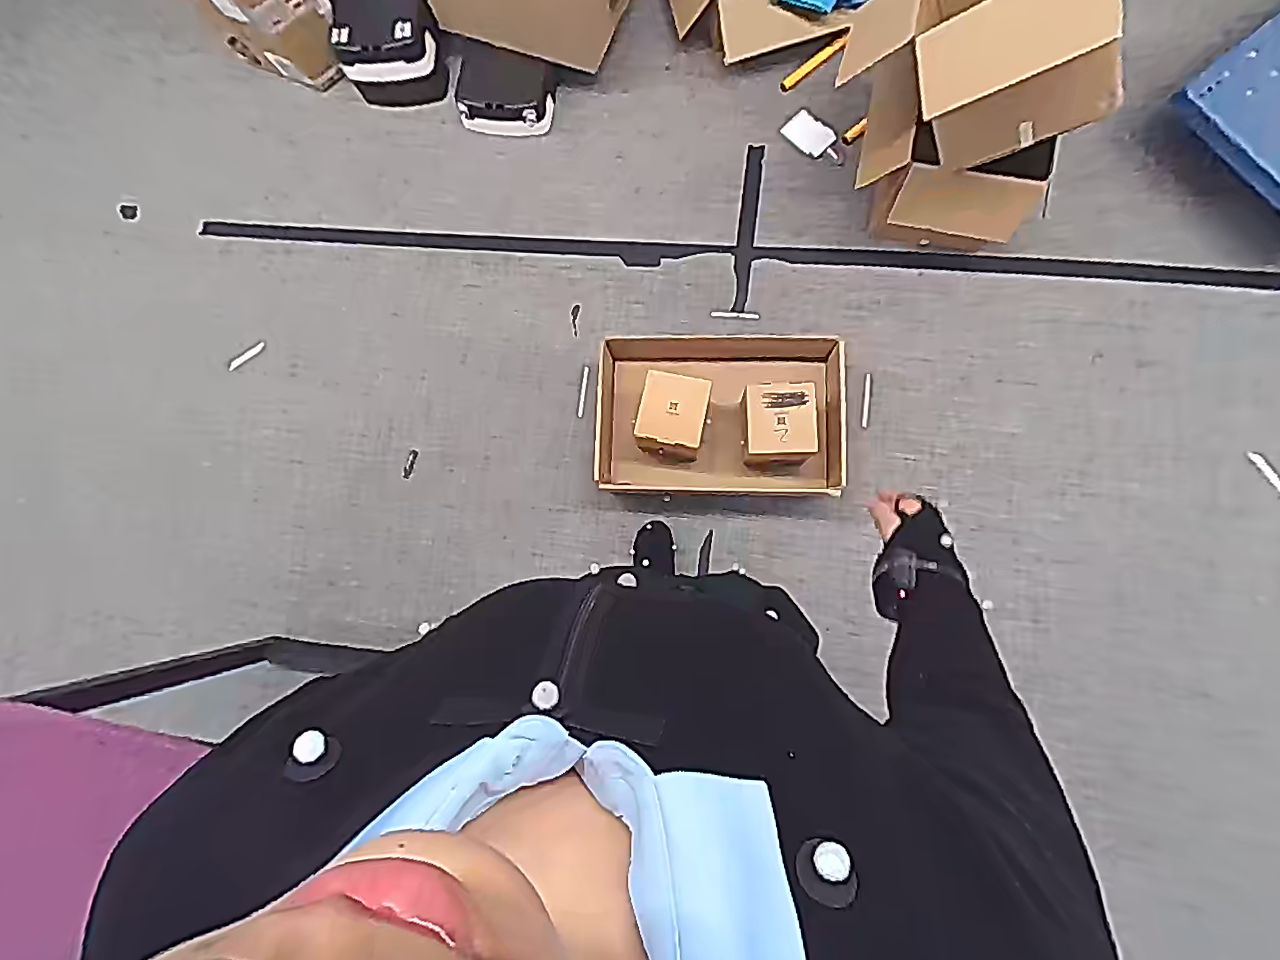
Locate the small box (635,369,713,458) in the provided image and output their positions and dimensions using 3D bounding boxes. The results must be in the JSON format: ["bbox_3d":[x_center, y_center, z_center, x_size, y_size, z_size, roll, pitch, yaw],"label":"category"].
[{"bbox_3d":[0.089,-0.168,1.415,0.168,0.176,0.179,12,84,5],"label":"small box"}]
